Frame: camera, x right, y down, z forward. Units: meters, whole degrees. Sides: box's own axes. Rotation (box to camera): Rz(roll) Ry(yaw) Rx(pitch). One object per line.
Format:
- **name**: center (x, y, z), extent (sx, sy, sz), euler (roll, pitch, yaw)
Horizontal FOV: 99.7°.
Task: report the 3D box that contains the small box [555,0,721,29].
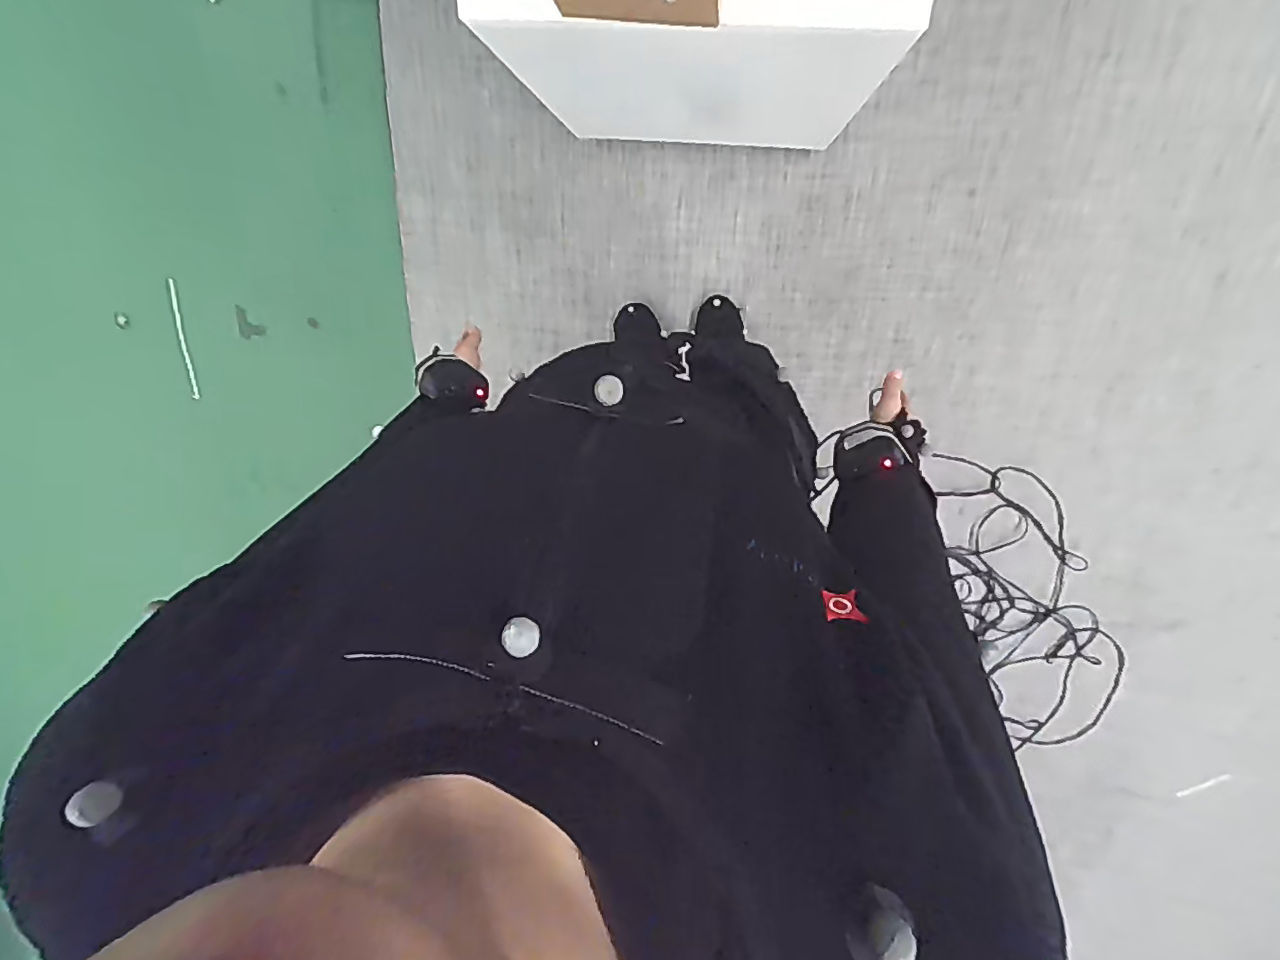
- **small box**: center (-0.001, -0.538, 0.480), extent (0.179, 0.176, 0.168), euler (8, 109, 6)
